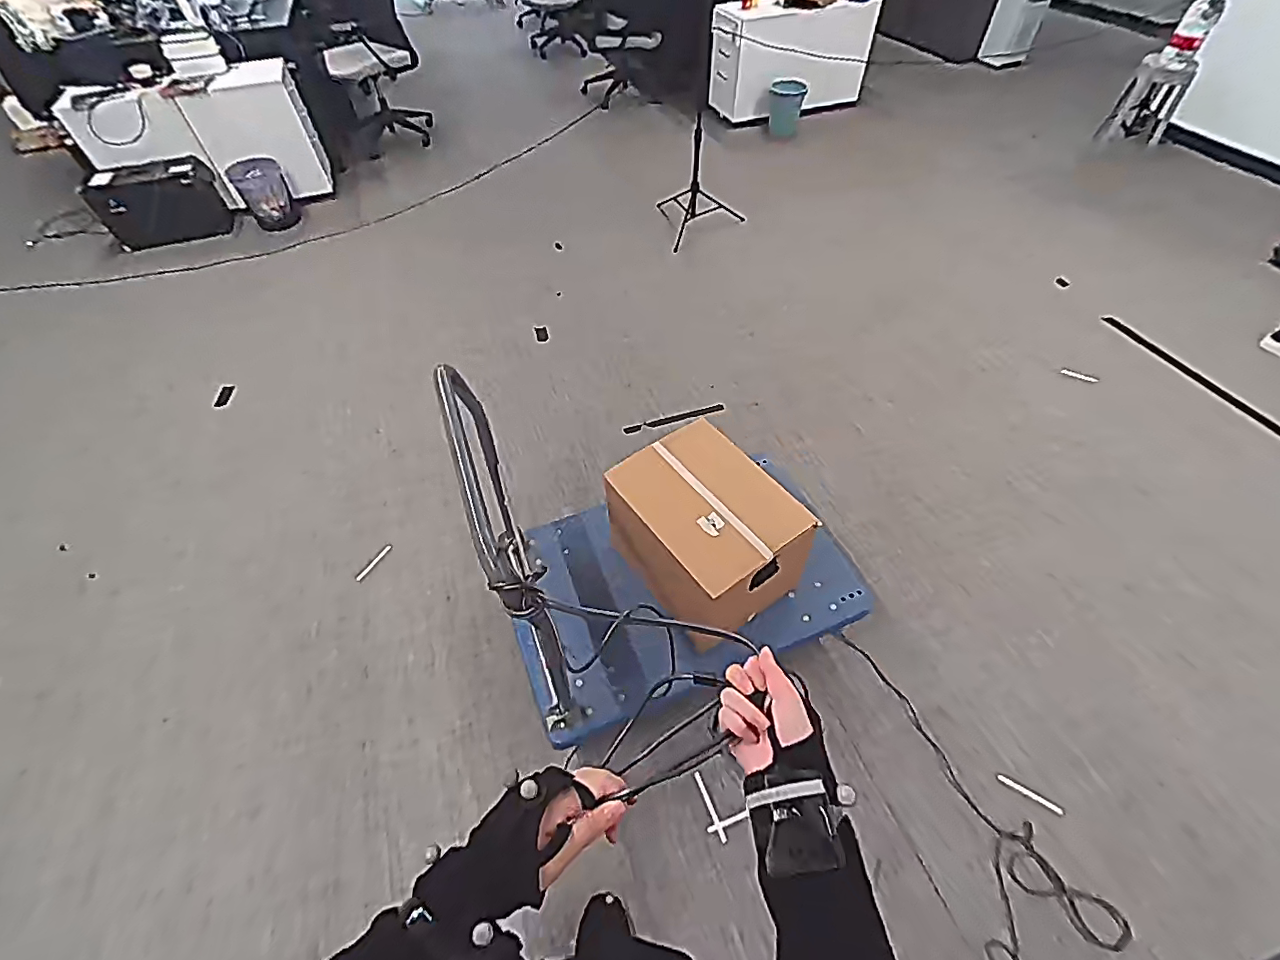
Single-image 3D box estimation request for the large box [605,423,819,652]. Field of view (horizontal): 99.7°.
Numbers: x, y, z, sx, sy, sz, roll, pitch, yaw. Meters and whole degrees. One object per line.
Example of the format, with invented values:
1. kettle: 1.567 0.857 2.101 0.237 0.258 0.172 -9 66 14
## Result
1. large box: 0.154 0.137 1.343 0.320 0.320 0.408 -31 58 -20
